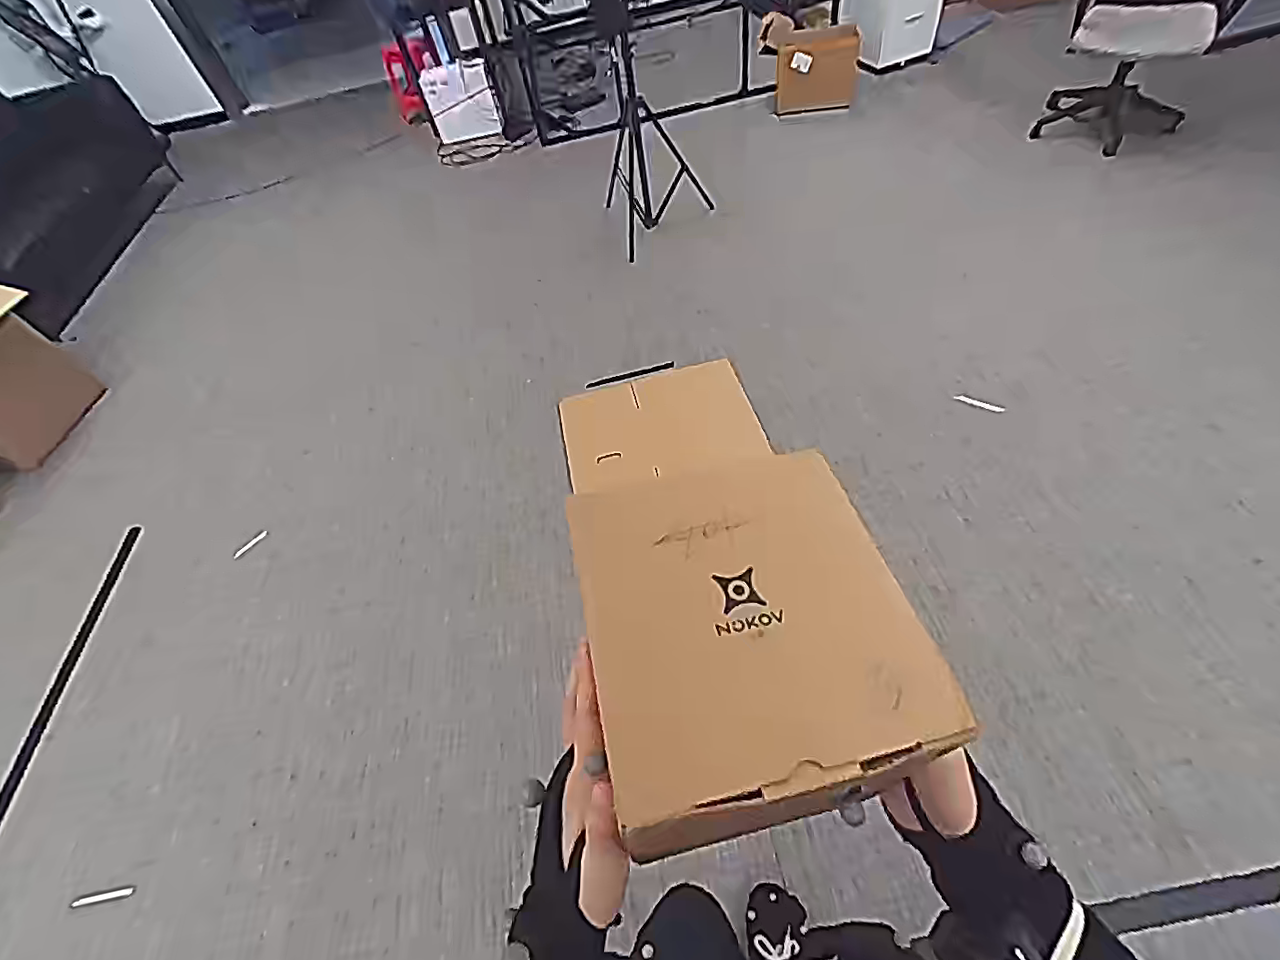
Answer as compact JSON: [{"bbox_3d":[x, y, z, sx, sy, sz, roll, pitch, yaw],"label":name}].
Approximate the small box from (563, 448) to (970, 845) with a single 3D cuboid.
[{"bbox_3d":[0.053,0.110,0.343,0.168,0.176,0.179,-11,51,-8],"label":"small box"}]
